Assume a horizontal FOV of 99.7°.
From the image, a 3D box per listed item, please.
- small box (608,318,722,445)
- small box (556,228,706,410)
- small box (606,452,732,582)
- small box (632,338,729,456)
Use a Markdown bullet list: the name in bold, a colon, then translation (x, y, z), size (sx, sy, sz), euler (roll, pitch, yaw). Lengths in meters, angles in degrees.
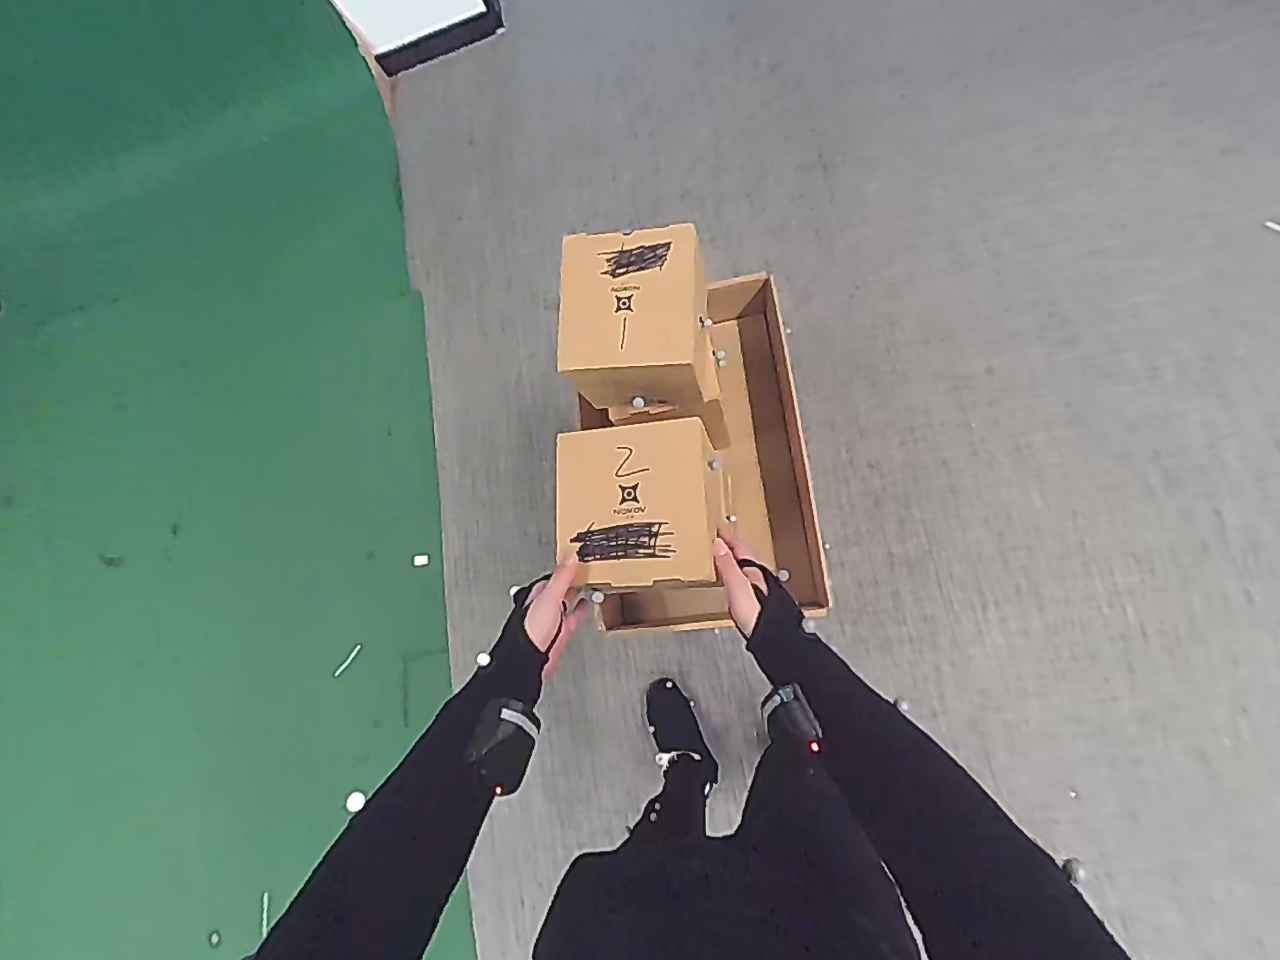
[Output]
- **small box**: translation (0.038, -0.171, 0.880), size (0.168, 0.176, 0.179), euler (-10, 79, 10)
- **small box**: translation (-0.003, -0.203, 0.723), size (0.168, 0.176, 0.179), euler (-1, 81, 12)
- **small box**: translation (0.050, 0.066, 0.825), size (0.168, 0.176, 0.179), euler (-4, 77, 12)
- **small box**: translation (0.075, -0.146, 1.034), size (0.168, 0.176, 0.179), euler (-9, 80, 12)
